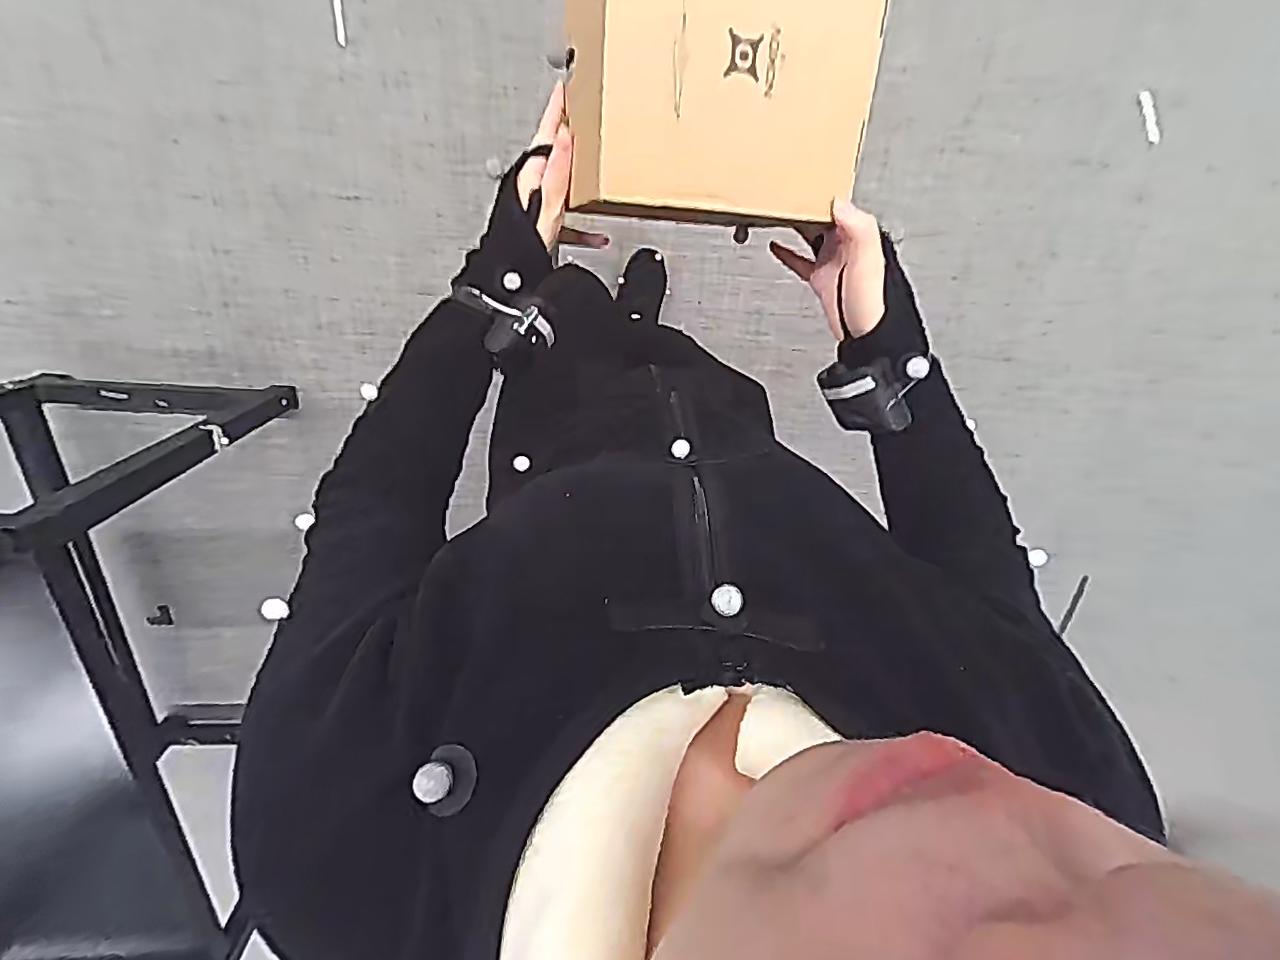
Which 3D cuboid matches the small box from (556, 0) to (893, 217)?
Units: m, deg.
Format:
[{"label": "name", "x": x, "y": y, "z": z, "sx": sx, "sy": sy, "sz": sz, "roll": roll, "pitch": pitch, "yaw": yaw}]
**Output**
[{"label": "small box", "x": 0.042, "y": -0.282, "z": 0.375, "sx": 0.179, "sy": 0.176, "sz": 0.168, "roll": -2, "pitch": 113, "yaw": -16}]
